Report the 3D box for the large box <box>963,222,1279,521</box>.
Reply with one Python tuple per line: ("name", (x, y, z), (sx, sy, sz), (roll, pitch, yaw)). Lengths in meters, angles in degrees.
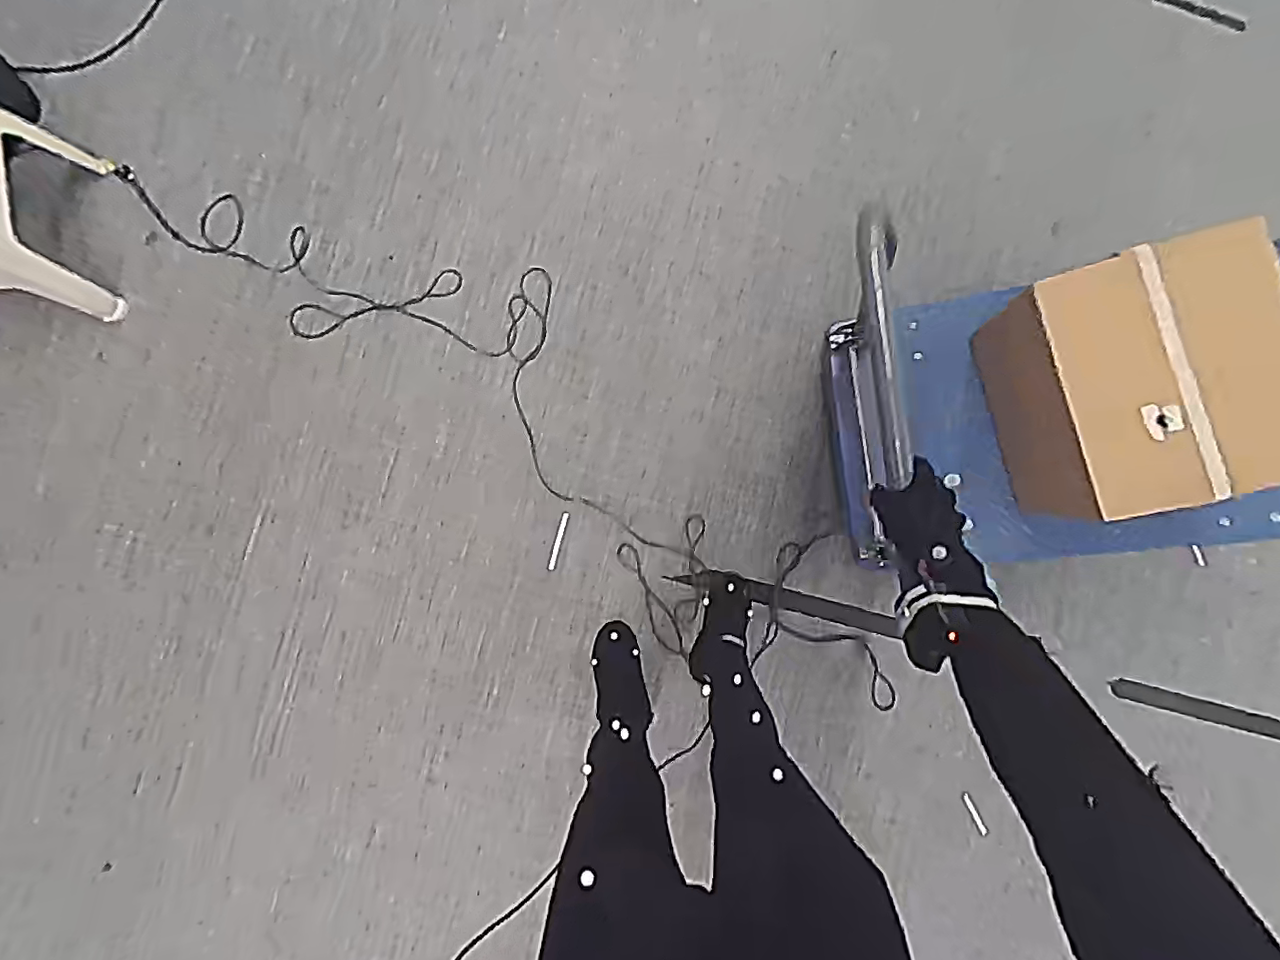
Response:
("large box", (0.858, -0.165, 0.985), (0.320, 0.320, 0.408), (-16, 86, 14))
